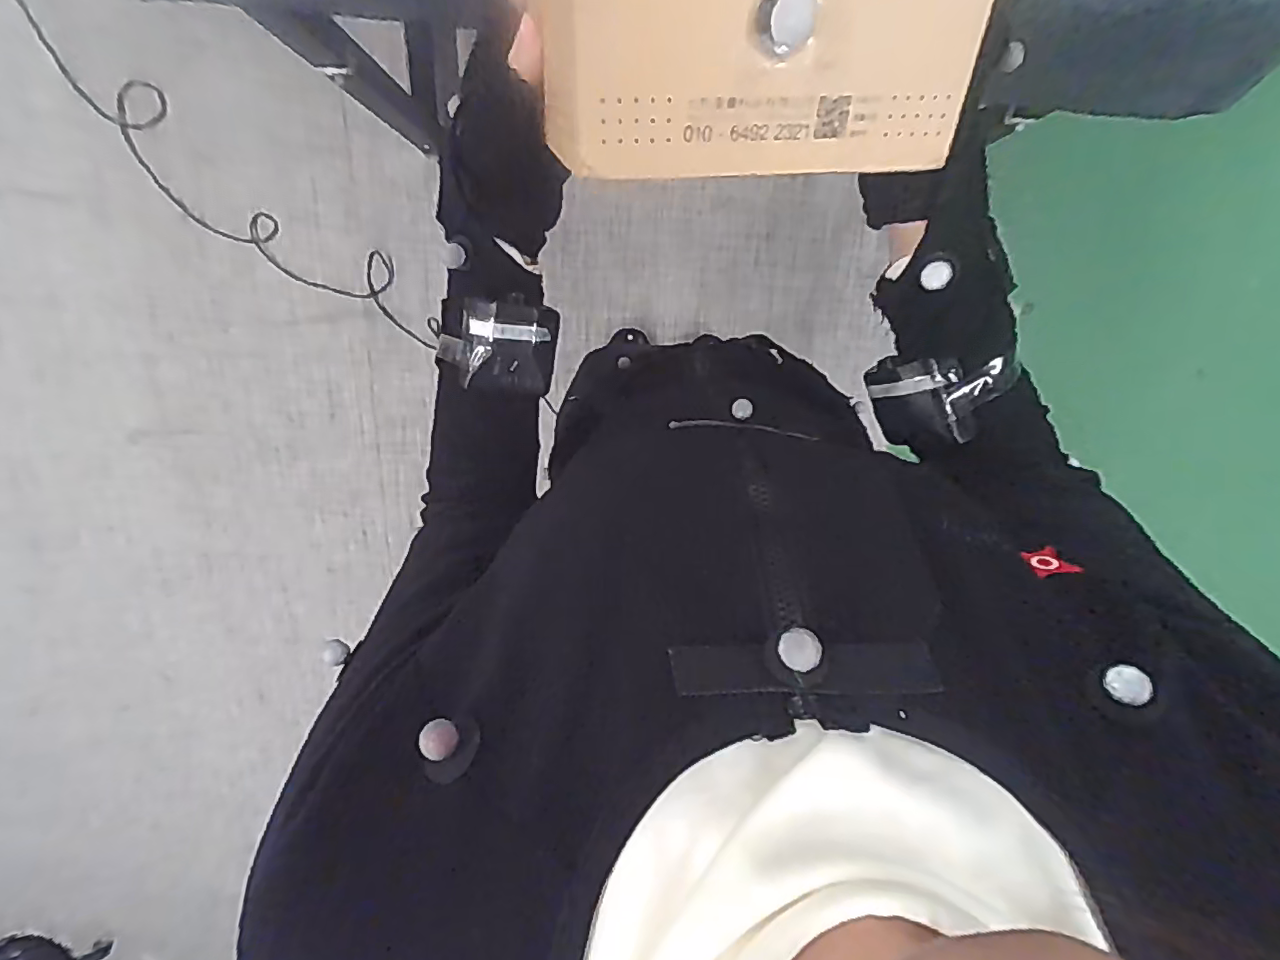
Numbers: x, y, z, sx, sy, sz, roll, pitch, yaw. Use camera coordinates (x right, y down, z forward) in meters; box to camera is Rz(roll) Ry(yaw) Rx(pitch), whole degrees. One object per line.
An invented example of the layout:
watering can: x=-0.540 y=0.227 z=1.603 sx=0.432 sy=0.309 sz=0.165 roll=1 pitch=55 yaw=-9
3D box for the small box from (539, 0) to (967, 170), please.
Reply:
small box: x=0.038 y=-0.255 z=0.256 sx=0.168 sy=0.179 sz=0.176 roll=-7 pitch=128 yaw=-11
